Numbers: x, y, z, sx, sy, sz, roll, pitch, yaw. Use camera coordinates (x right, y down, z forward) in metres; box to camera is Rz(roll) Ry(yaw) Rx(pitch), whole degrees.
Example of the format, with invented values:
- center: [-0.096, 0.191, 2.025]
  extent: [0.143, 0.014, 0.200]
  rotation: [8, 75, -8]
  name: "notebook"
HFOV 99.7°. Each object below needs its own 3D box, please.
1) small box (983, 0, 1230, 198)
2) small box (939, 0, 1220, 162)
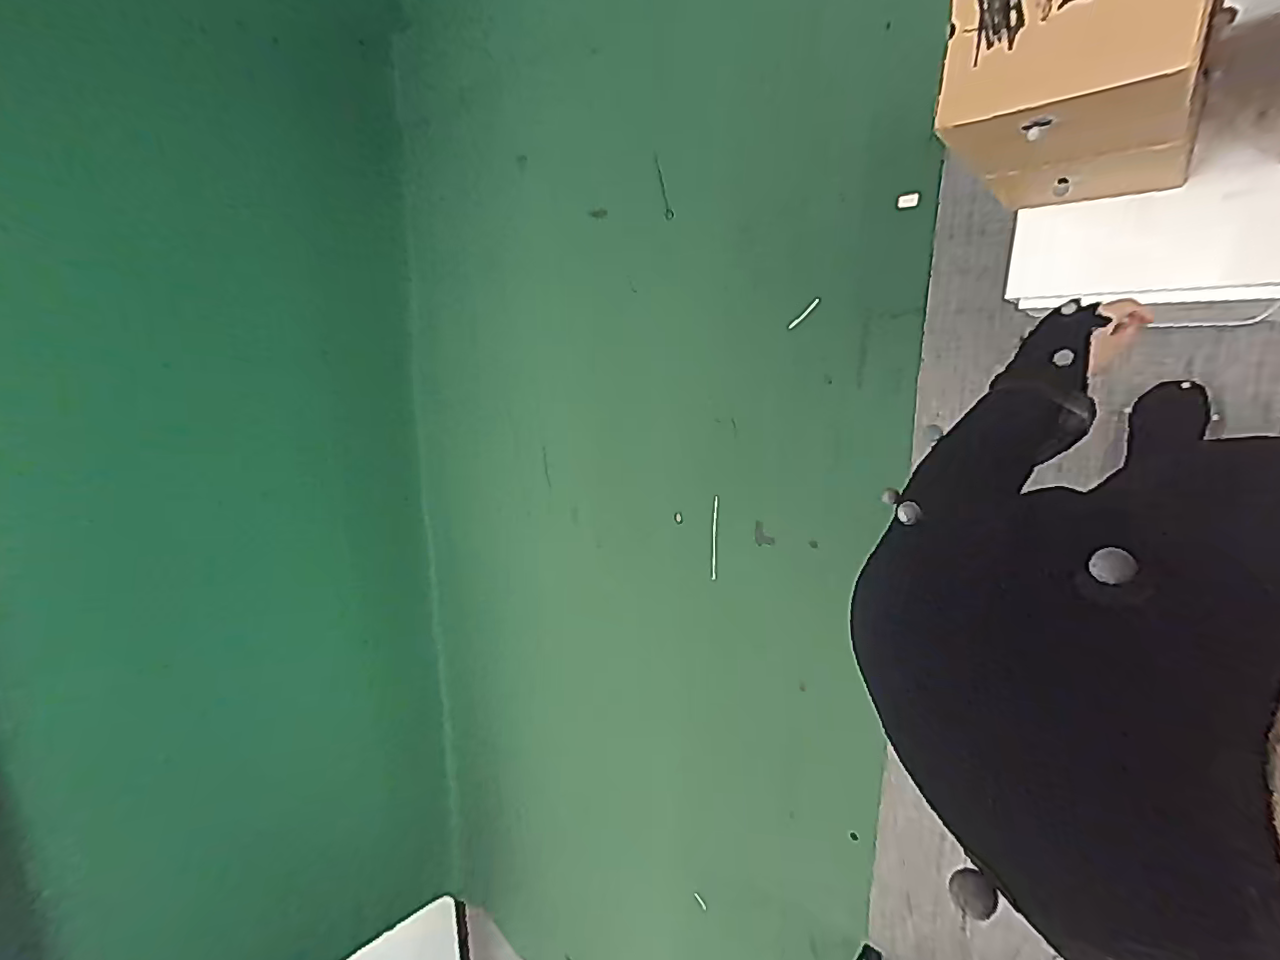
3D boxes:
- center: [0.518, -0.434, 0.607]
  extent: [0.179, 0.176, 0.168]
  rotation: [13, 108, 42]
  name: "small box"
- center: [0.402, -0.414, 0.491]
  extent: [0.179, 0.176, 0.168]
  rotation: [12, 107, 42]
  name: "small box"
